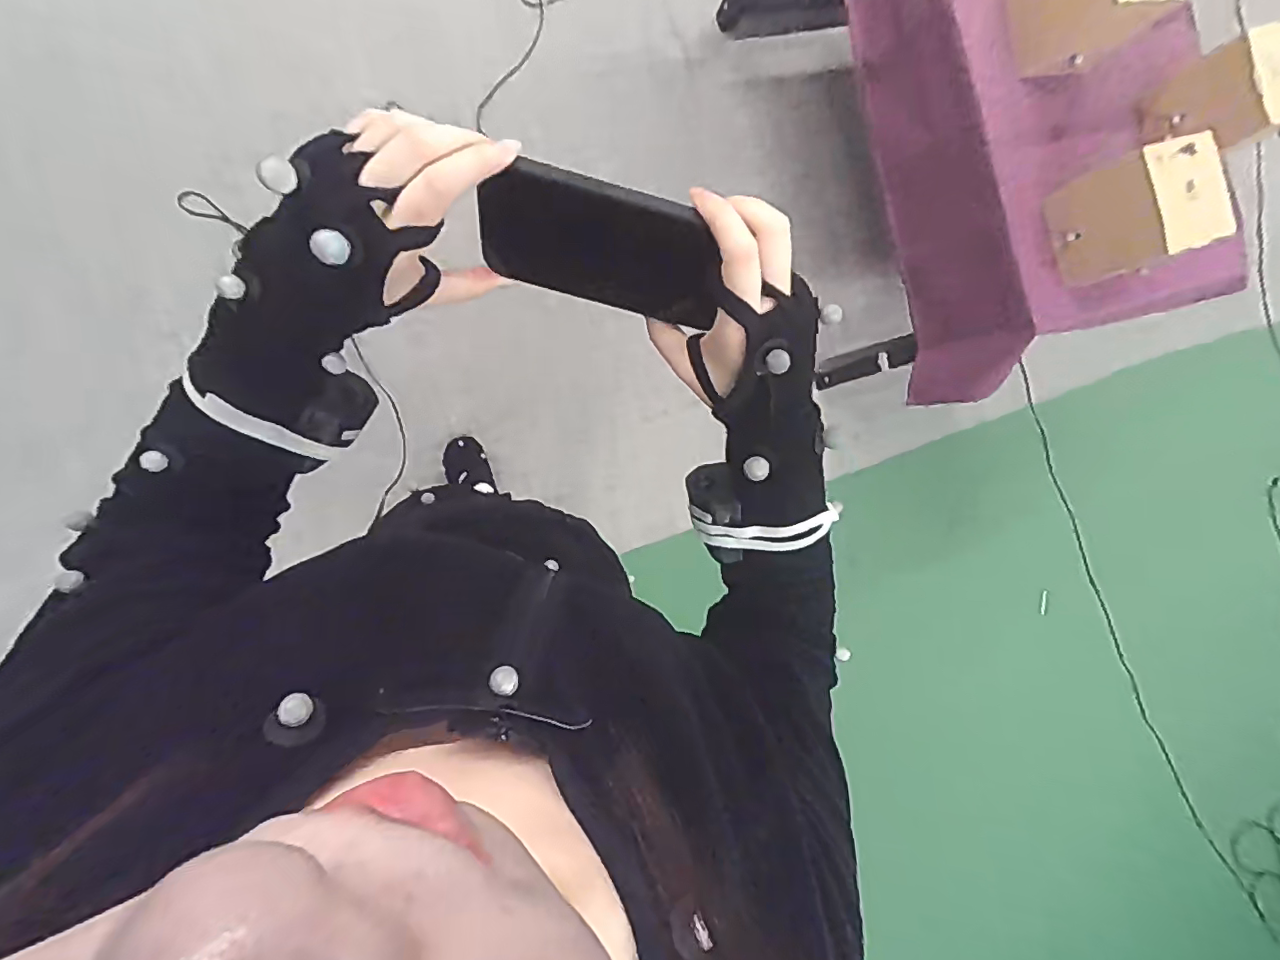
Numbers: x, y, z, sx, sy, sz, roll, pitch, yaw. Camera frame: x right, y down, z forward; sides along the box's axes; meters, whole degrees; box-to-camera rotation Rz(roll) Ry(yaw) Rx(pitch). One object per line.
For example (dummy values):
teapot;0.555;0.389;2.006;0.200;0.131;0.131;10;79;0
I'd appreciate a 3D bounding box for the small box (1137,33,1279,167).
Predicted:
small box;1.105;-0.695;1.020;0.179;0.176;0.168;-20;94;-13

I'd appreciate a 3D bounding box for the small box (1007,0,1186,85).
small box;0.777;-0.832;0.936;0.168;0.176;0.179;-14;94;-14

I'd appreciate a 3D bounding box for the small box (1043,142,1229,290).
small box;0.867;-0.452;0.957;0.168;0.176;0.179;-18;95;-15
